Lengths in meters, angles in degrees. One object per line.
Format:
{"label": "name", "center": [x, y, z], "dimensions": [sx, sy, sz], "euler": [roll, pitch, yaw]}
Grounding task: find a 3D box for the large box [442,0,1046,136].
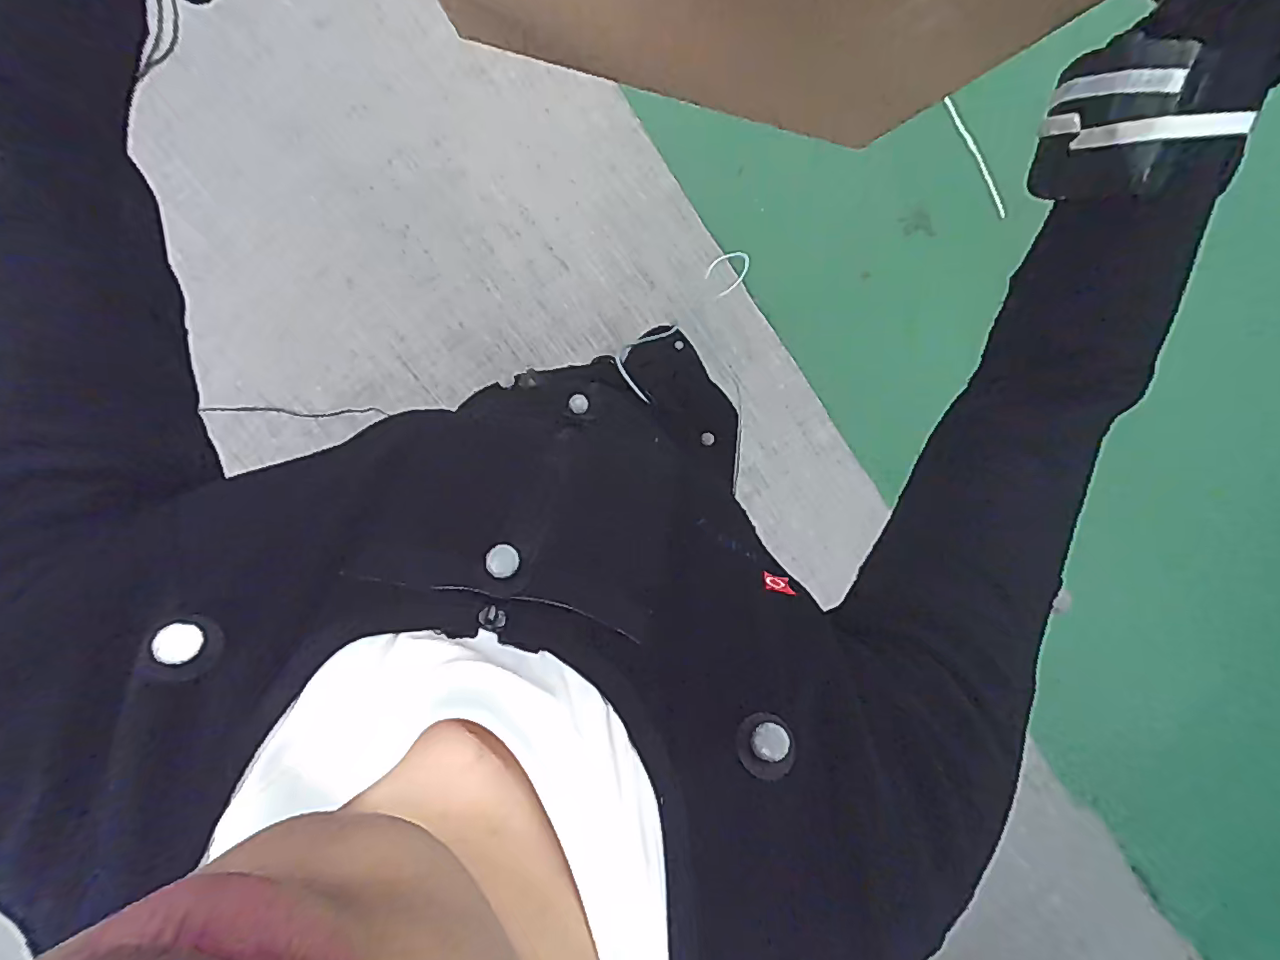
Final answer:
{"label": "large box", "center": [0.062, -0.474, 0.340], "dimensions": [0.408, 0.320, 0.320], "euler": [10, 108, -7]}
